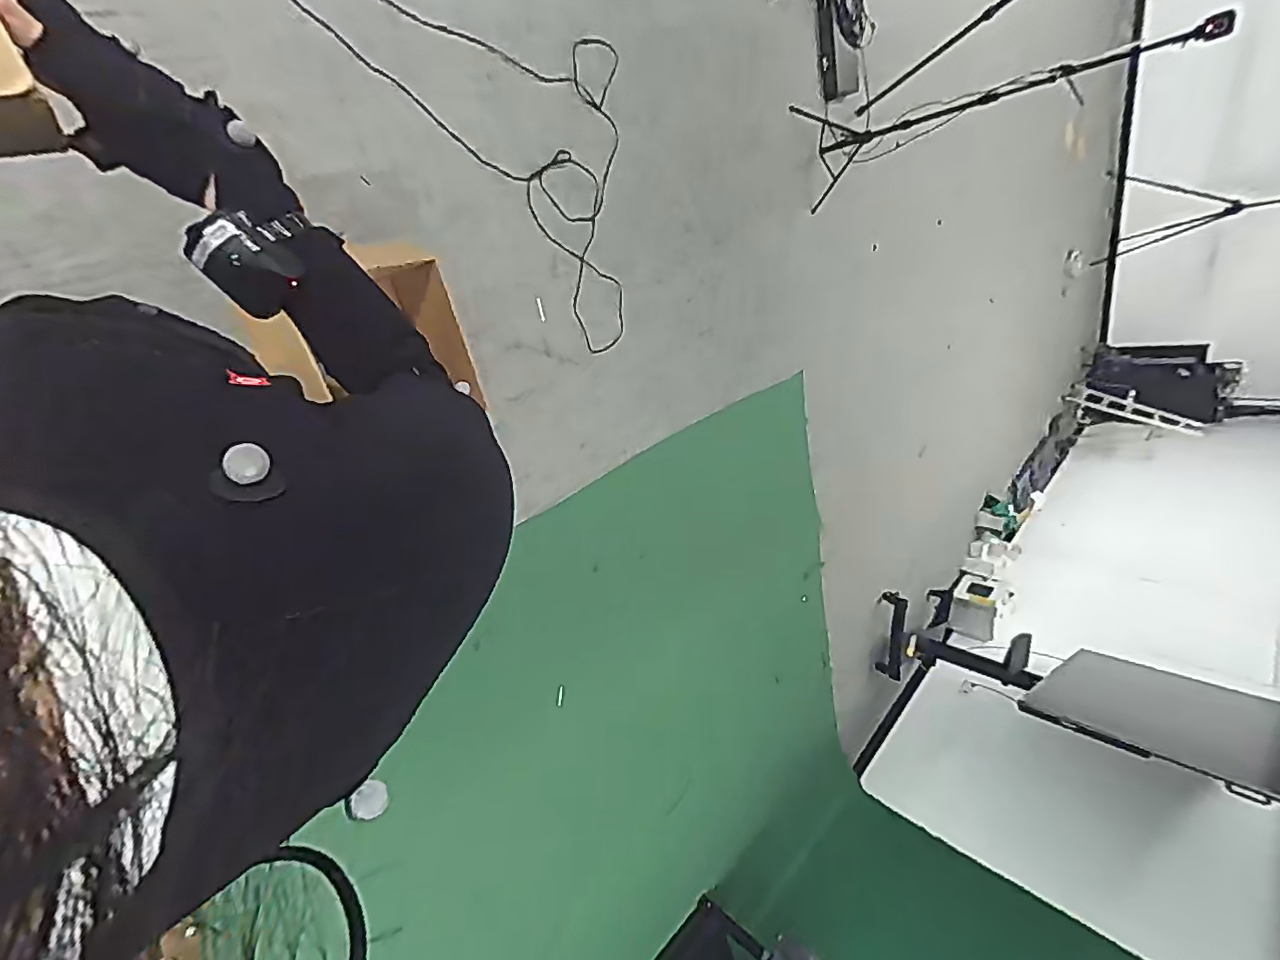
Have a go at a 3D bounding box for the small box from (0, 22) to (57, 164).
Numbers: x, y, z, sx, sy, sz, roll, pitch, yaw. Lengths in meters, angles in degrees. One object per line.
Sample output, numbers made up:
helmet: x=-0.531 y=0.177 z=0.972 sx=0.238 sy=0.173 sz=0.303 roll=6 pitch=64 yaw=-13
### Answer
small box: x=-0.458 y=-0.270 z=0.272 sx=0.168 sy=0.176 sz=0.179 roll=-30 pitch=123 yaw=-32

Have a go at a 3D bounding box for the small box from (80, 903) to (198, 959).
small box: x=-1.112 y=1.103 z=1.190 sx=0.179 sy=0.176 sz=0.168 roll=-35 pitch=121 yaw=-34
